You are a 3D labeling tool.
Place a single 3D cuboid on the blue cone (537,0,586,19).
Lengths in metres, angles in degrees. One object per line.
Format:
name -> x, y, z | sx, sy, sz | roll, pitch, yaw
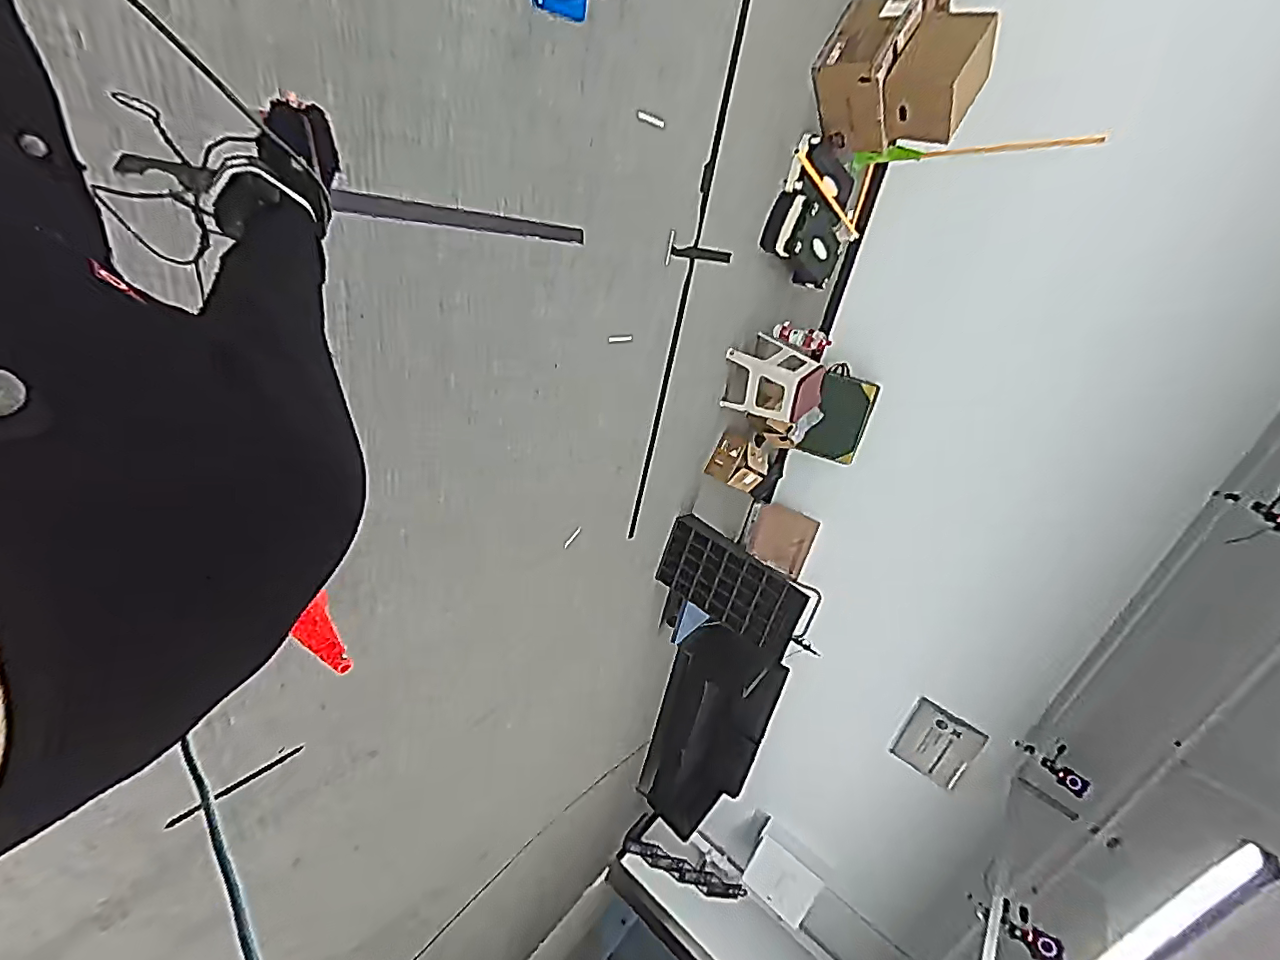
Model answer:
blue cone -> -0.082, -1.304, 1.369 | 0.193, 0.380, 0.192 | -27, 136, -44
